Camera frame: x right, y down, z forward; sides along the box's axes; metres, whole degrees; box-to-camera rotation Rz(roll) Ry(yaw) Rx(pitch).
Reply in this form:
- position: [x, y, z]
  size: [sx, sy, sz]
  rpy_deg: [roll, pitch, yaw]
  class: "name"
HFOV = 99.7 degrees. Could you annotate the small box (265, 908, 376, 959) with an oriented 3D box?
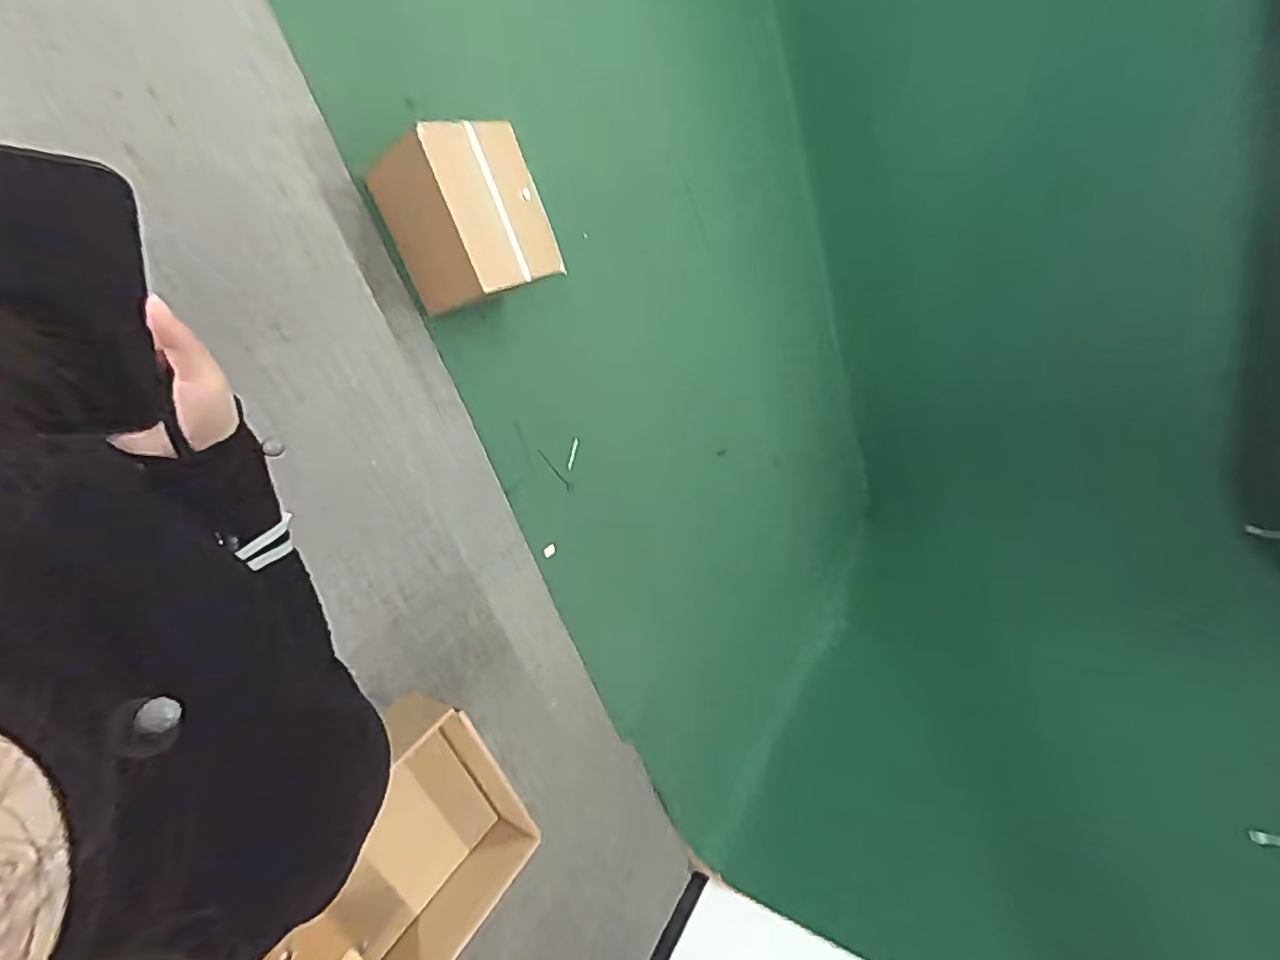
- position: [-0.517, 0.853, 0.875]
  size: [0.168, 0.176, 0.179]
  rpy_deg: [-41, 117, -42]
  class: "small box"
